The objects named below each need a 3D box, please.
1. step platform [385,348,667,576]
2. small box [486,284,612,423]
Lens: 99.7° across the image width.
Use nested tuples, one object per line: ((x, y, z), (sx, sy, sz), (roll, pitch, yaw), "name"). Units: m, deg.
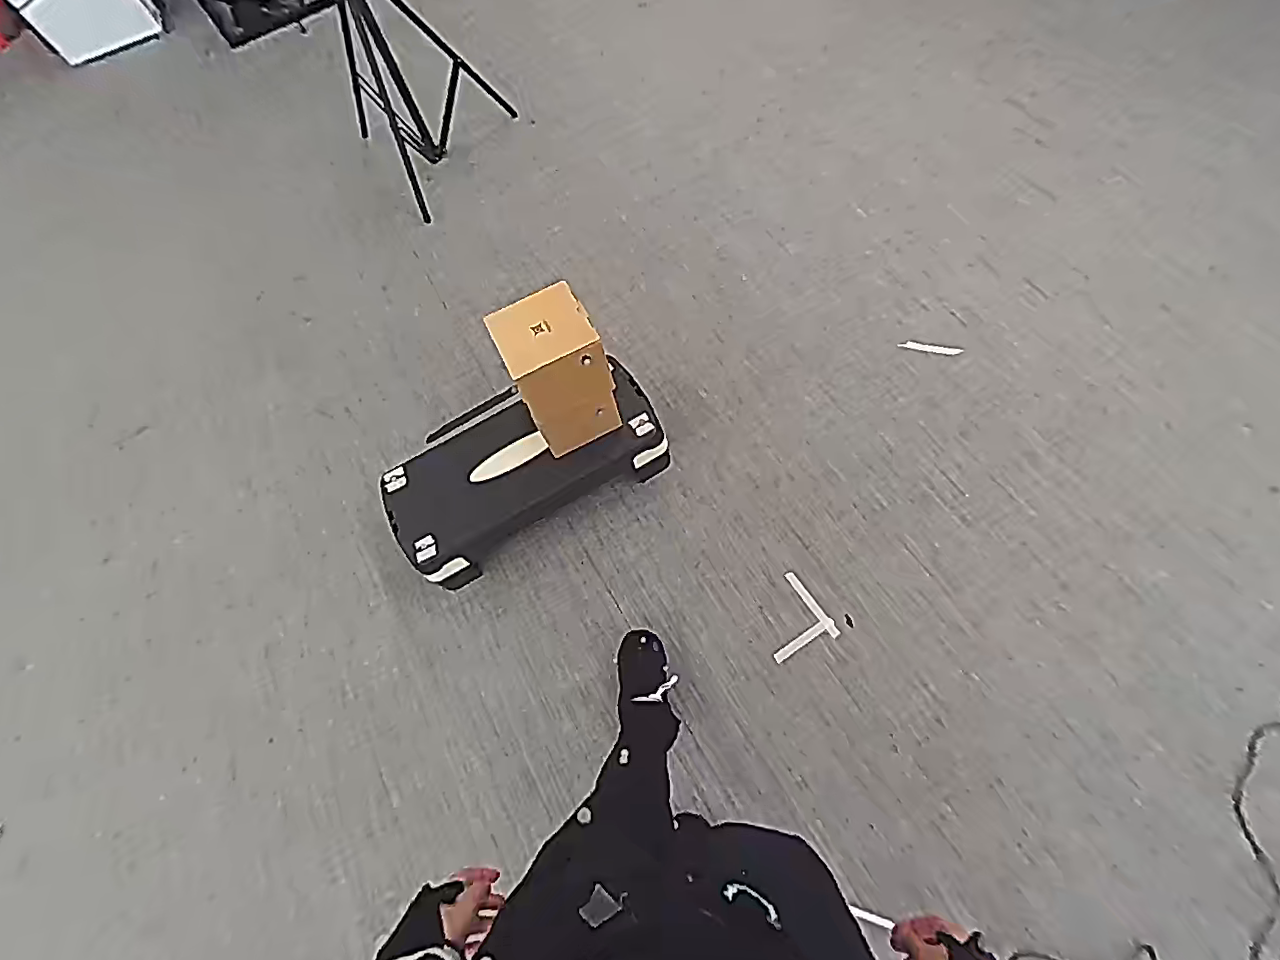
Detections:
((-0.276, -0.048, 1.363), (0.684, 0.204, 0.286), (-31, 66, -6), "step platform")
((-0.172, -0.241, 1.065), (0.179, 0.176, 0.168), (-27, 66, -6), "small box")
